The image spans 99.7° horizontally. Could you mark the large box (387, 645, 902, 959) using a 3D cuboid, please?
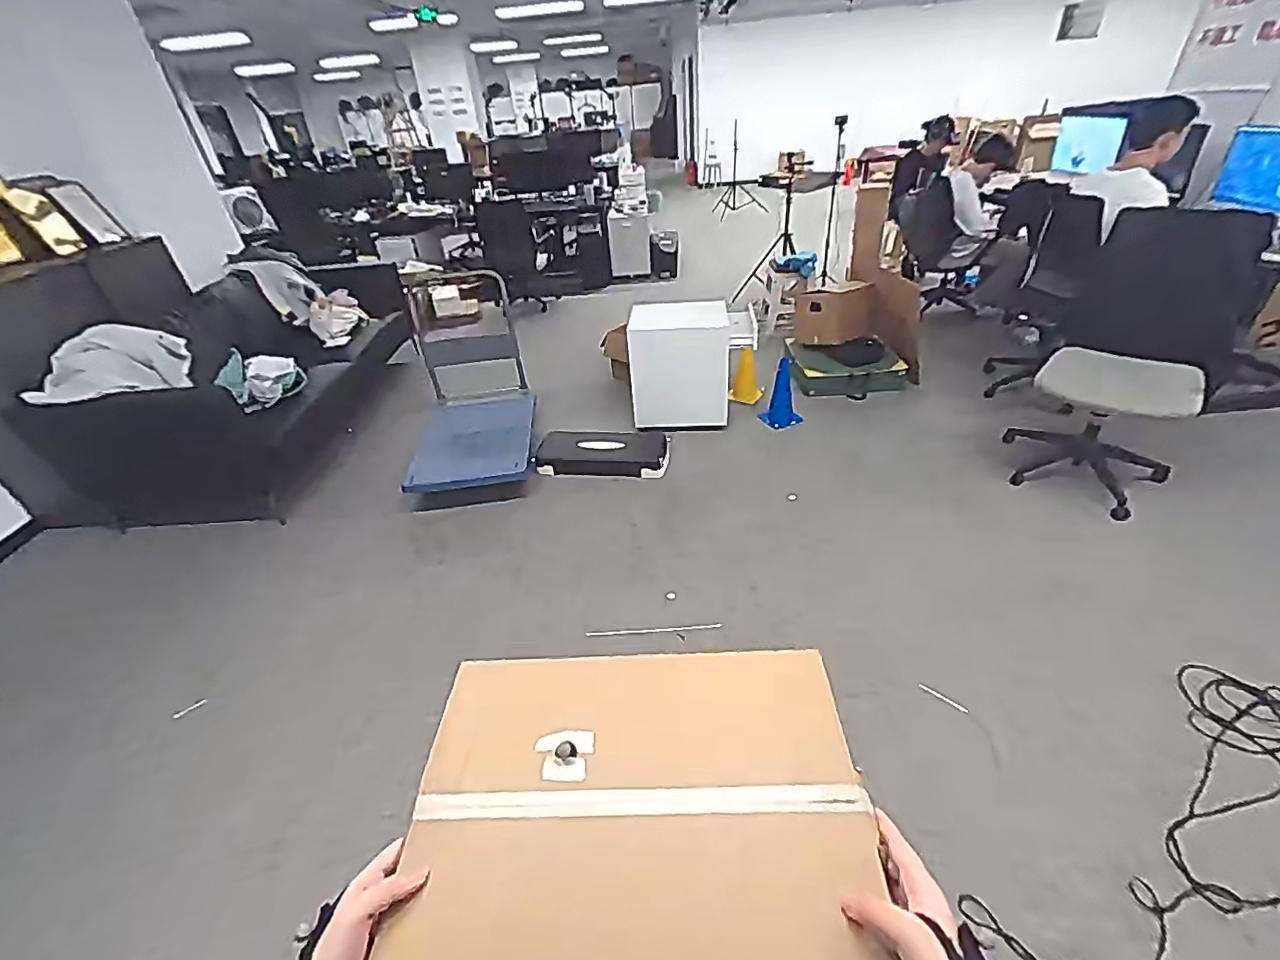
[{"bbox_3d":[0.013,0.412,0.590,0.408,0.320,0.320,-5,38,5],"label":"large box"}]
